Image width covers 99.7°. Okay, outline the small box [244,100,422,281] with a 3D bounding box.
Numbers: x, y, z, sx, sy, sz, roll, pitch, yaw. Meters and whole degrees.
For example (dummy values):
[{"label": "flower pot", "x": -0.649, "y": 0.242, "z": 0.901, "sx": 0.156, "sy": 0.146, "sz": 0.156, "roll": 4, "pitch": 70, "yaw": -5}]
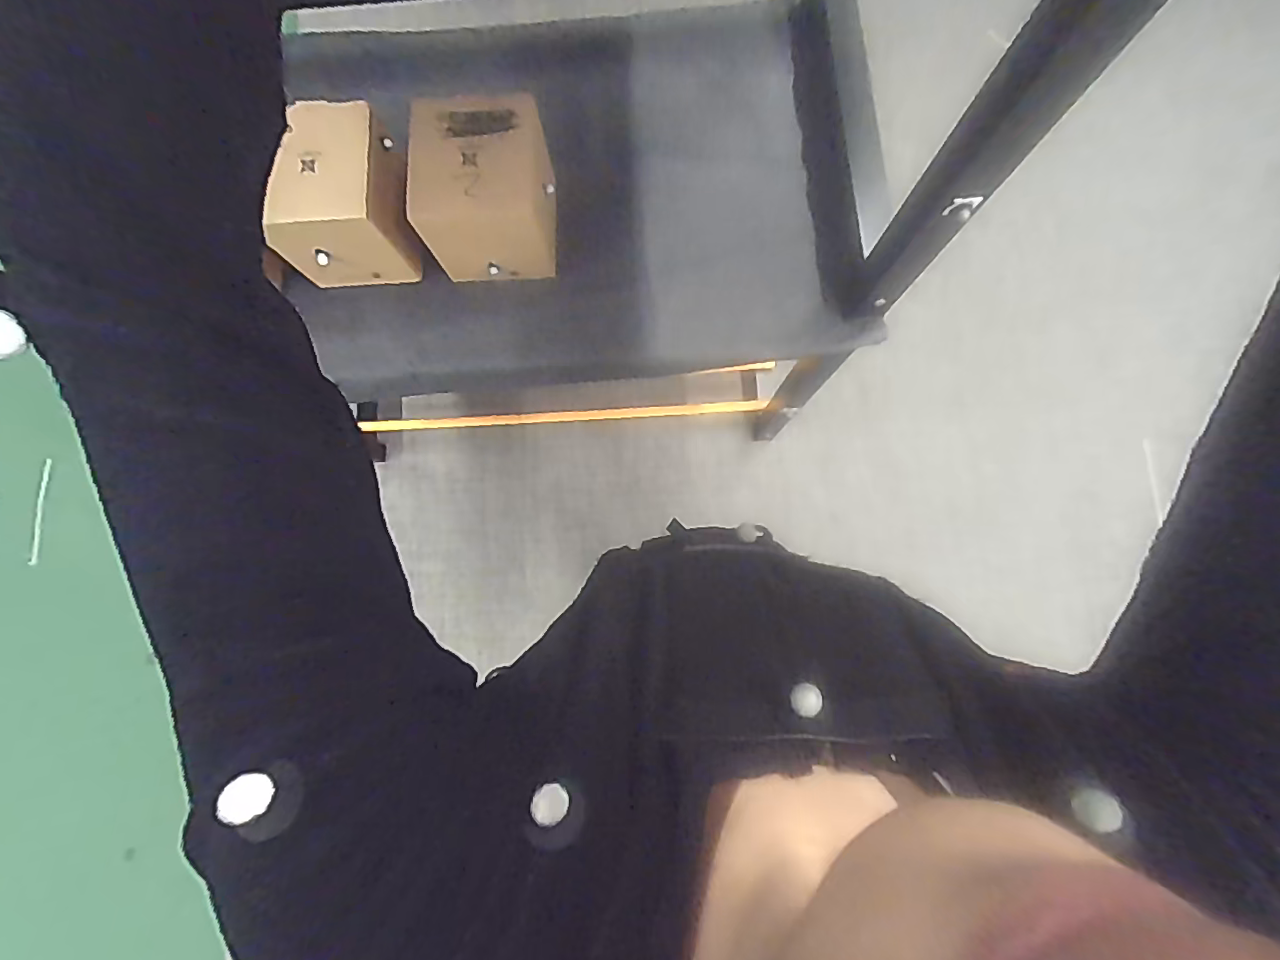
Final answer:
[{"label": "small box", "x": -0.432, "y": -0.406, "z": 0.789, "sx": 0.168, "sy": 0.176, "sz": 0.179, "roll": -3, "pitch": 80, "yaw": 1}]
